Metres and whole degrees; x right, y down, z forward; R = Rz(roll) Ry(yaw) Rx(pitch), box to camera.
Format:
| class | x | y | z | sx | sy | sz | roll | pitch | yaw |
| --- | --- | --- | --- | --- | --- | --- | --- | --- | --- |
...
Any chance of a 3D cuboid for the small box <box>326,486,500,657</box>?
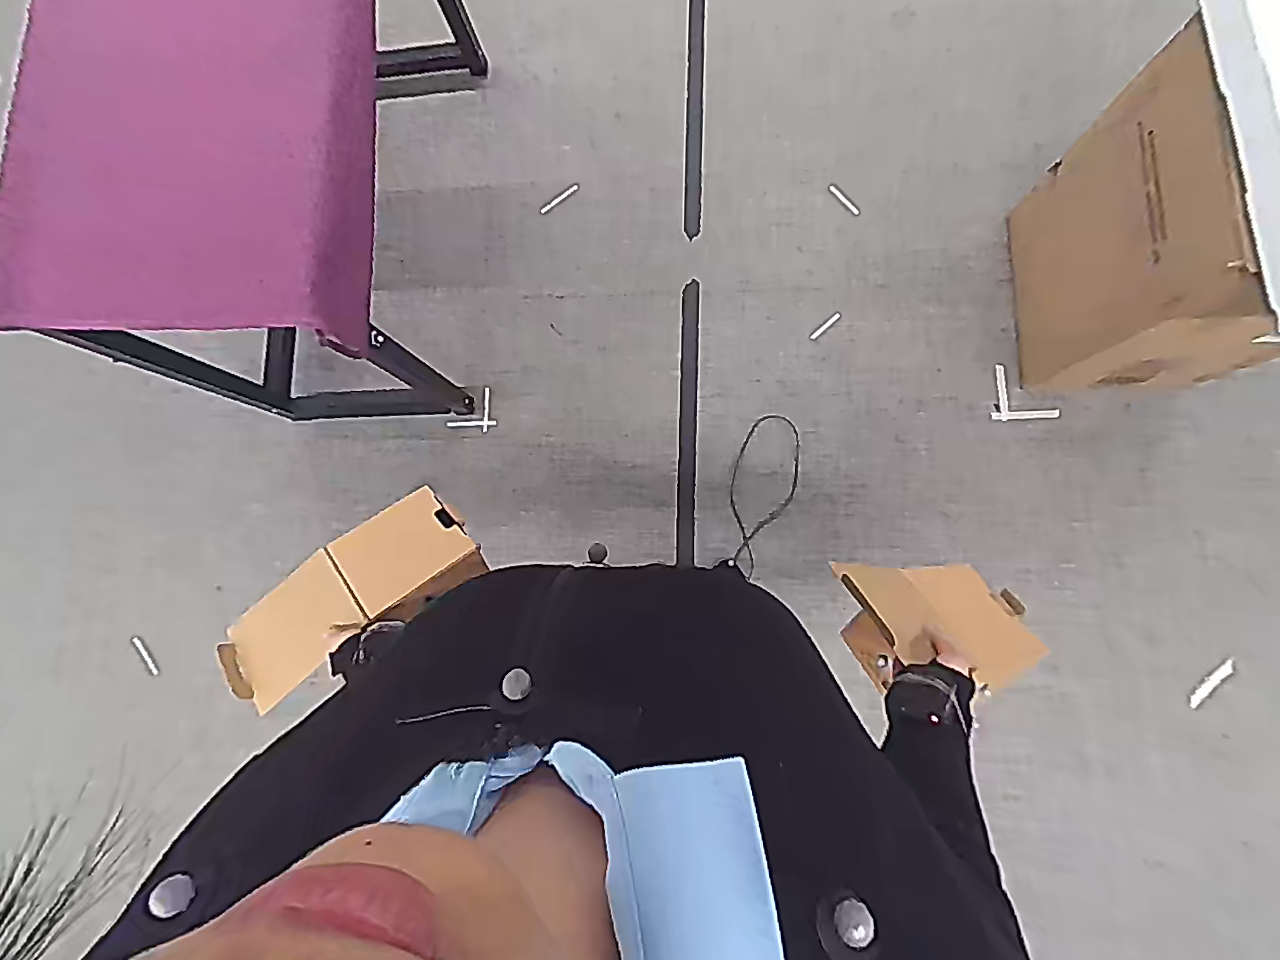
| class | x | y | z | sx | sy | sz | roll | pitch | yaw |
| --- | --- | --- | --- | --- | --- | --- | --- | --- | --- |
| small box | -0.354 | 0.151 | 0.869 | 0.179 | 0.176 | 0.168 | -36 | 58 | -23 |
